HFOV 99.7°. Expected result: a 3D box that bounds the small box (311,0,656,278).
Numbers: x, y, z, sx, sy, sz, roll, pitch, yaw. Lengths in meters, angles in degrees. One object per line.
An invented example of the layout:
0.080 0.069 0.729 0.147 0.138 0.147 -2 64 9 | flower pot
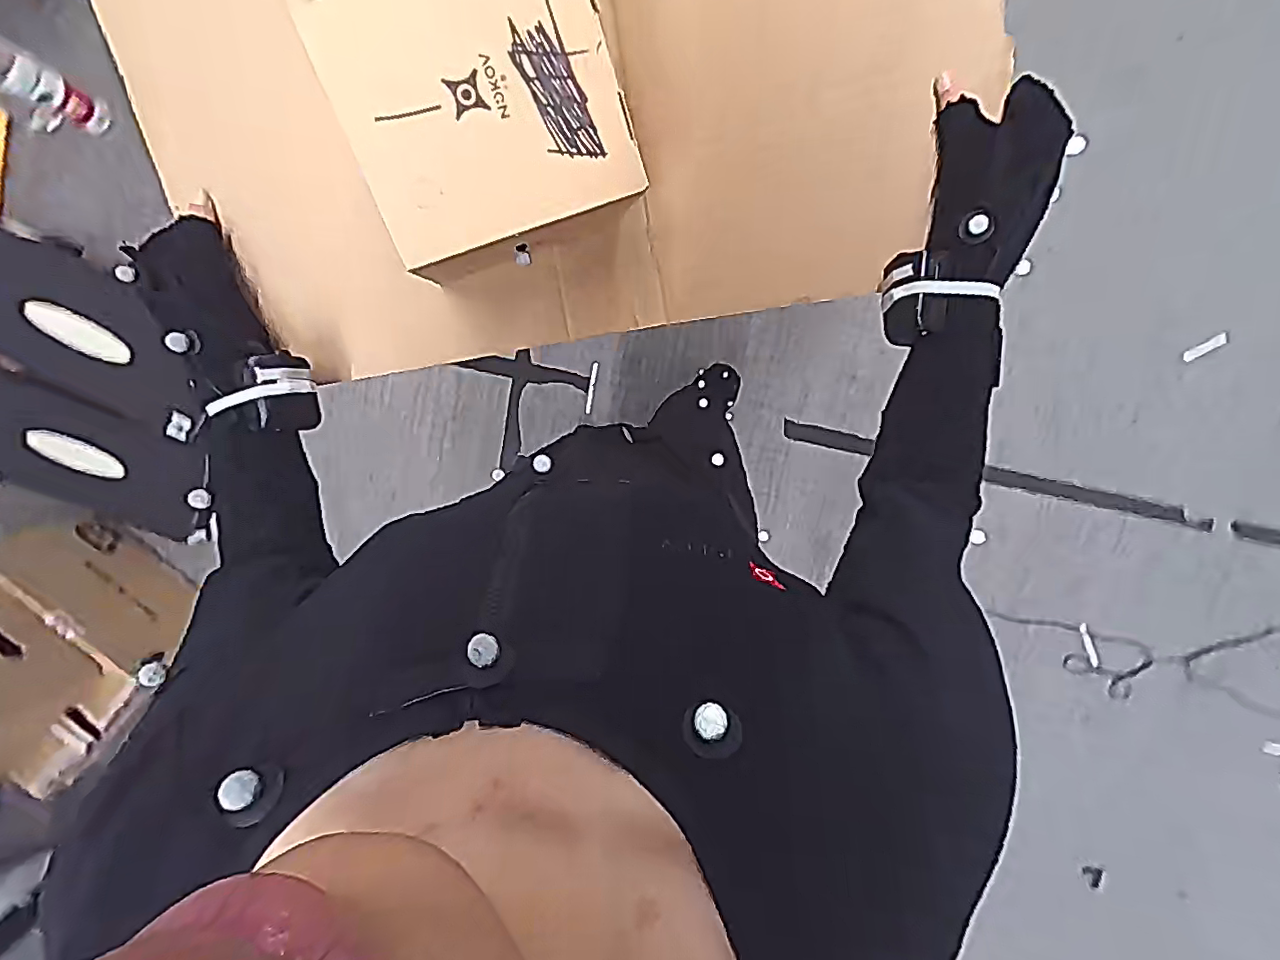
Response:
-0.107 -0.268 0.422 0.179 0.176 0.168 -20 110 -5 | small box
